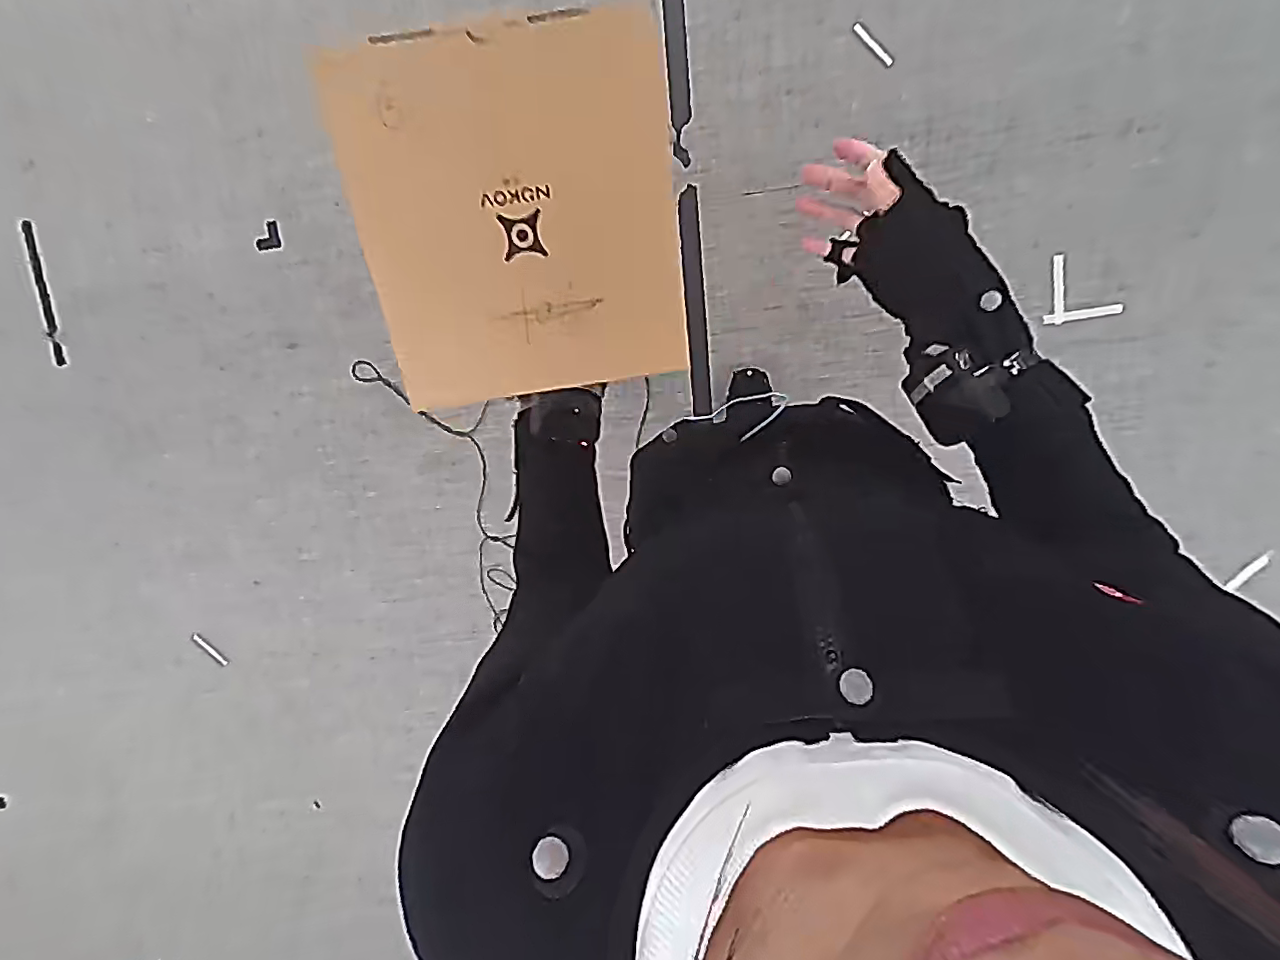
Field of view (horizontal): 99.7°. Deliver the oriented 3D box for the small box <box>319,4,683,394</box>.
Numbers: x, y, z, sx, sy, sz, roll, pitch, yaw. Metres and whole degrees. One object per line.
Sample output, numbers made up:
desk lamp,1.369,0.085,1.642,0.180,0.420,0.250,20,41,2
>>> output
small box,-0.072,-0.171,0.366,0.168,0.176,0.179,-9,113,-2
